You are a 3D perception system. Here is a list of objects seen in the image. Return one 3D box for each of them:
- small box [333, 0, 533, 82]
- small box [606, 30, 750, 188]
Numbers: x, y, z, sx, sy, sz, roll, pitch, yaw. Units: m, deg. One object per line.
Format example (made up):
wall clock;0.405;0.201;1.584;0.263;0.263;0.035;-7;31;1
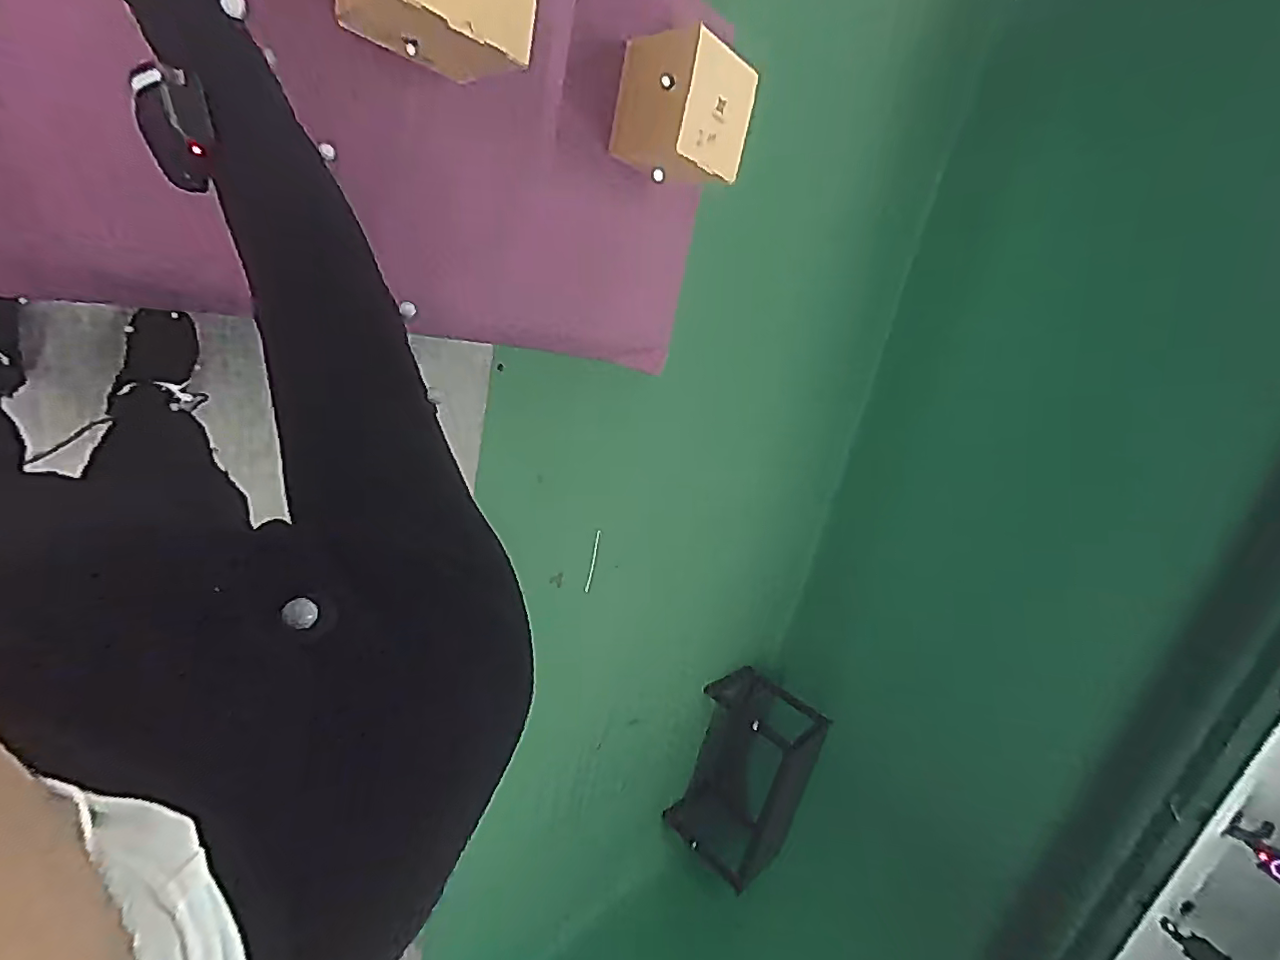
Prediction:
small box;-0.238;-0.599;0.626;0.168;0.176;0.179;-8;118;-47
small box;0.062;-0.634;0.948;0.168;0.176;0.179;-5;115;-47
